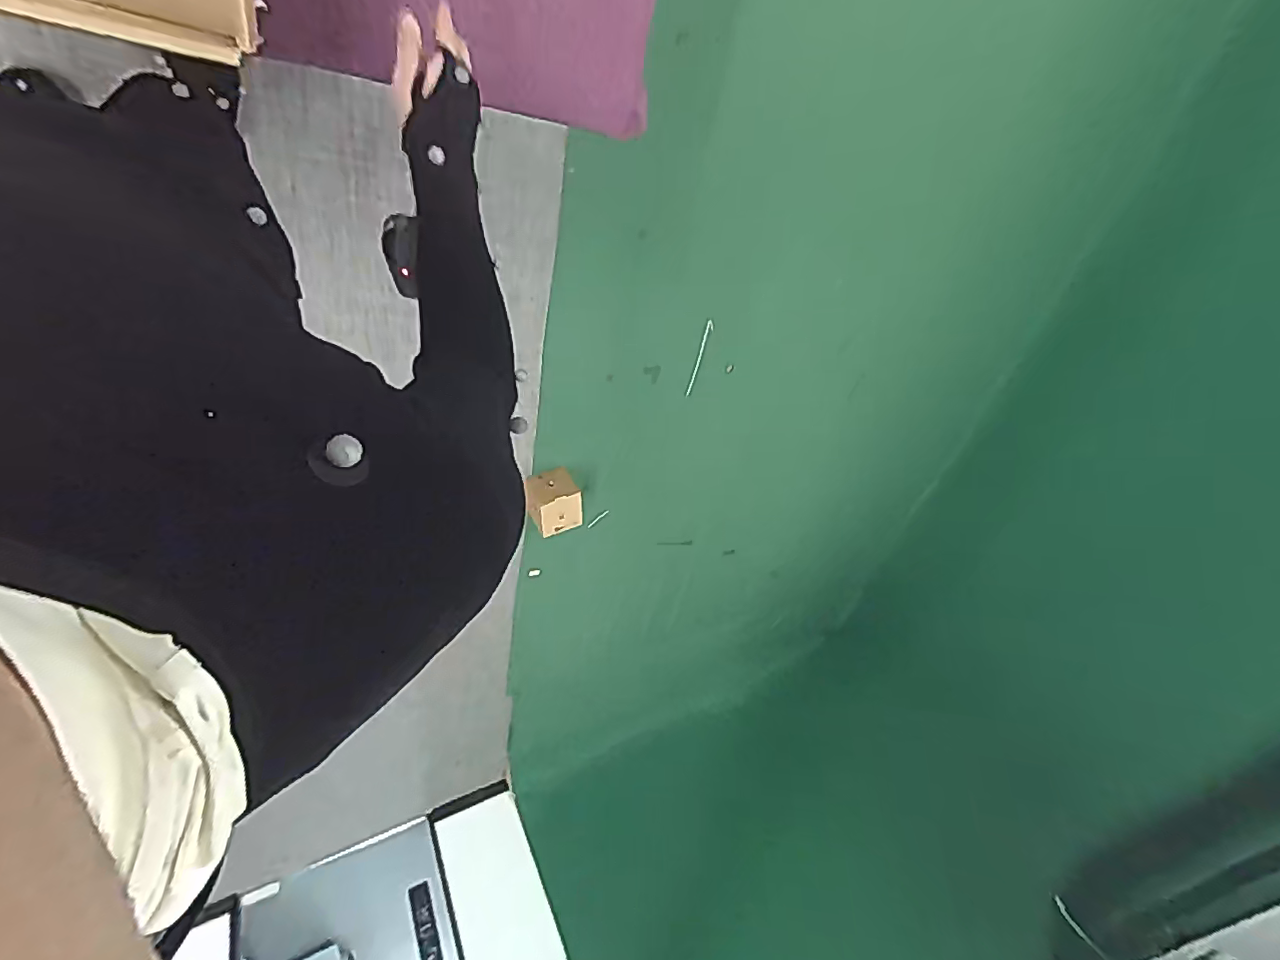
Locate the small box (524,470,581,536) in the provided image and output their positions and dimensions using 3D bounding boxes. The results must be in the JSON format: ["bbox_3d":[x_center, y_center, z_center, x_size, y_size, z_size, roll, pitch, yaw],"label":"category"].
[{"bbox_3d":[-0.340,0.080,2.093,0.168,0.176,0.179,-18,134,-23],"label":"small box"}]
